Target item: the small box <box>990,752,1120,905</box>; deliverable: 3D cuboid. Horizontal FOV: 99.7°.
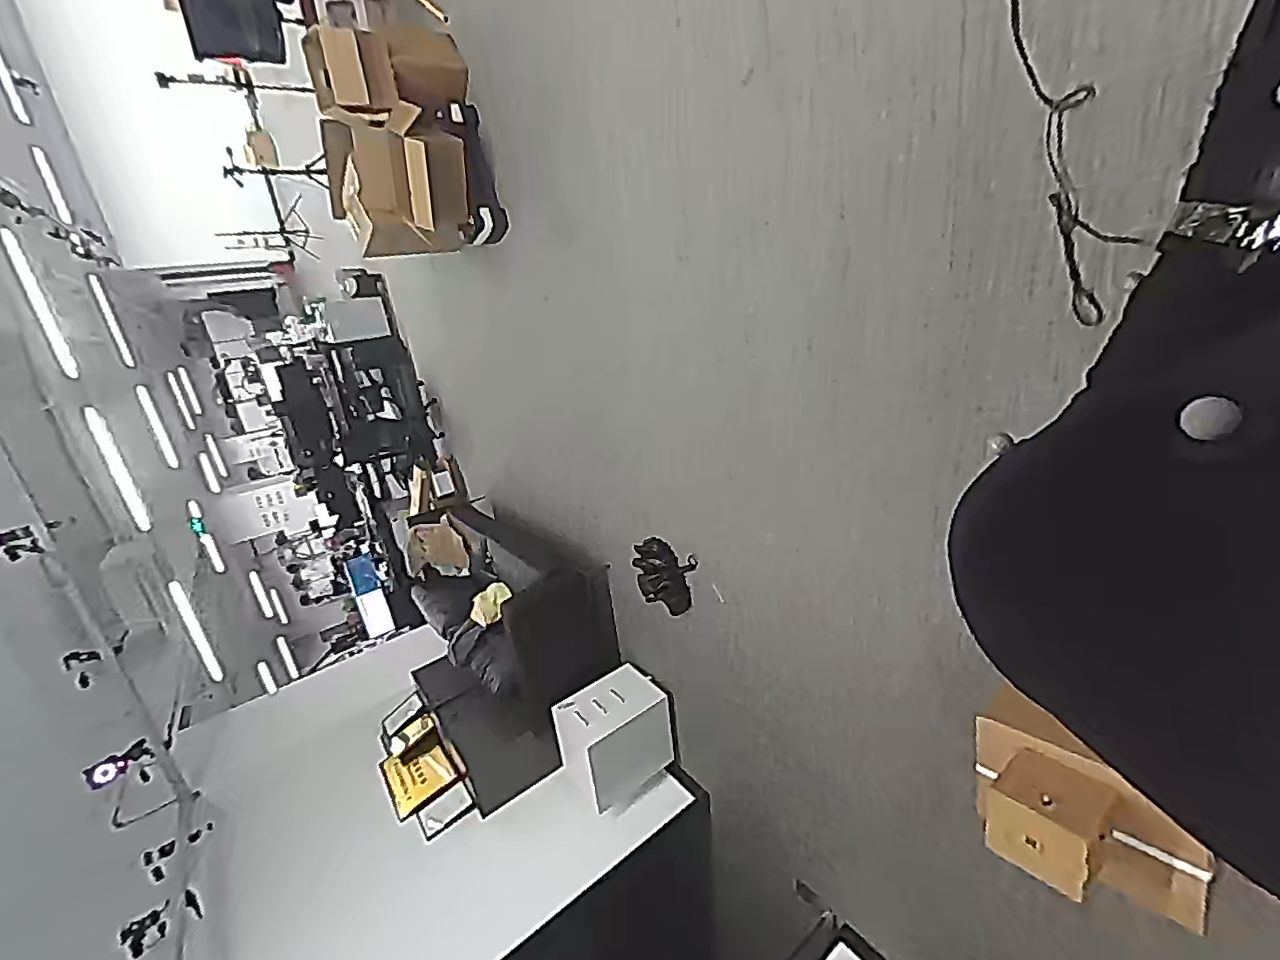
[{"bbox_3d":[0.868,0.714,1.134,0.179,0.176,0.168,14,117,54],"label":"small box"}]
